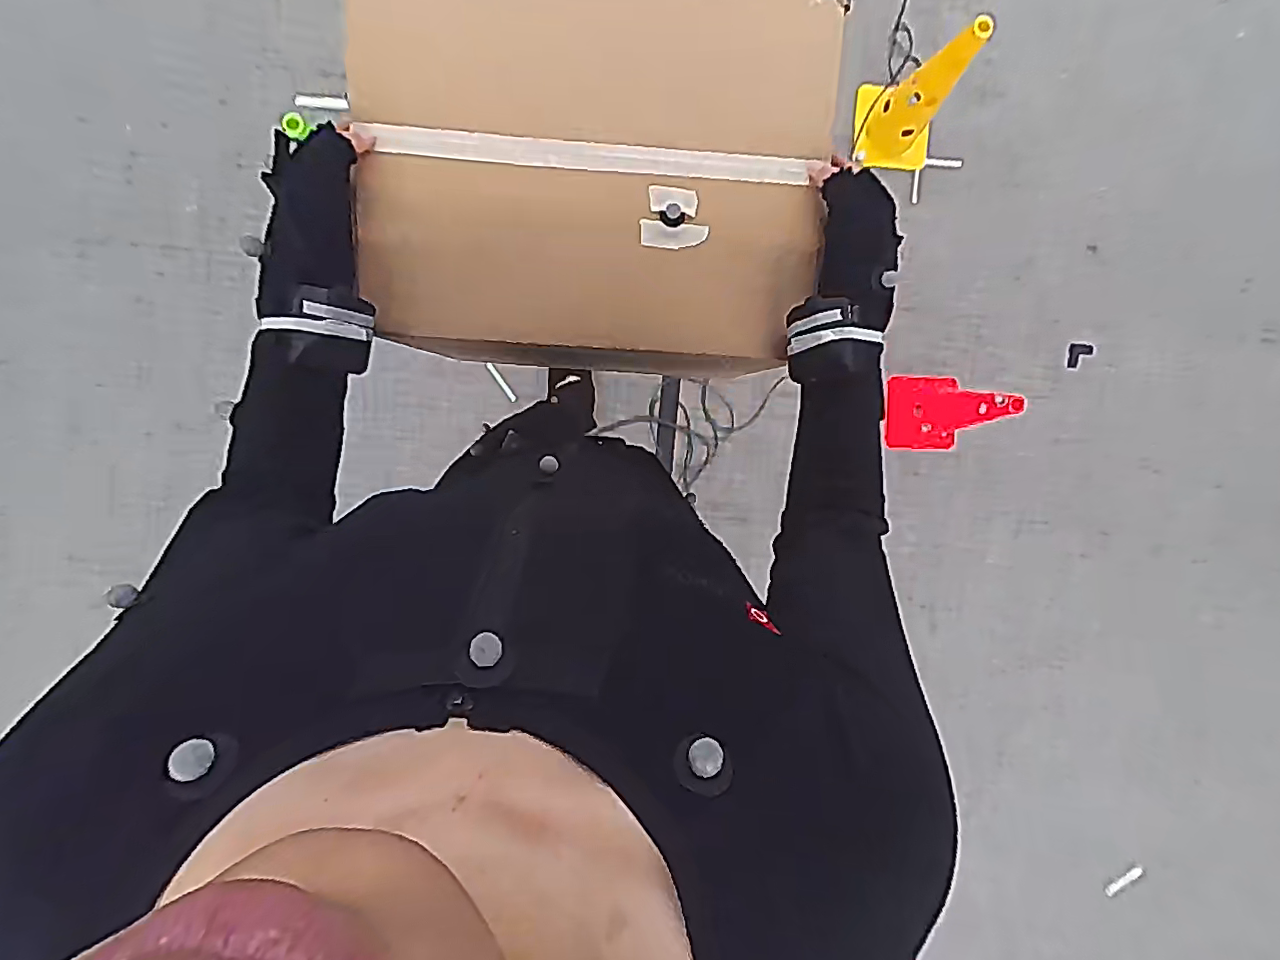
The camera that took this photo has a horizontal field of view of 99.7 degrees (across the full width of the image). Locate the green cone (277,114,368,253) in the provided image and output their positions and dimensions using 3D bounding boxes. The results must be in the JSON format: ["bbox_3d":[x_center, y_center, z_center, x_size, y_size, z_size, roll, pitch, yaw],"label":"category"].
[{"bbox_3d":[-0.662,-0.686,1.188,0.202,0.368,0.200,-33,95,1],"label":"green cone"}]

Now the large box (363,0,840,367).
[{"bbox_3d":[-0.044,-0.303,0.611,0.408,0.320,0.320,2,98,-4],"label":"large box"}]

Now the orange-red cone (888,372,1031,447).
[{"bbox_3d":[0.786,-0.183,1.304,0.198,0.360,0.199,2,93,-4],"label":"orange-red cone"}]
